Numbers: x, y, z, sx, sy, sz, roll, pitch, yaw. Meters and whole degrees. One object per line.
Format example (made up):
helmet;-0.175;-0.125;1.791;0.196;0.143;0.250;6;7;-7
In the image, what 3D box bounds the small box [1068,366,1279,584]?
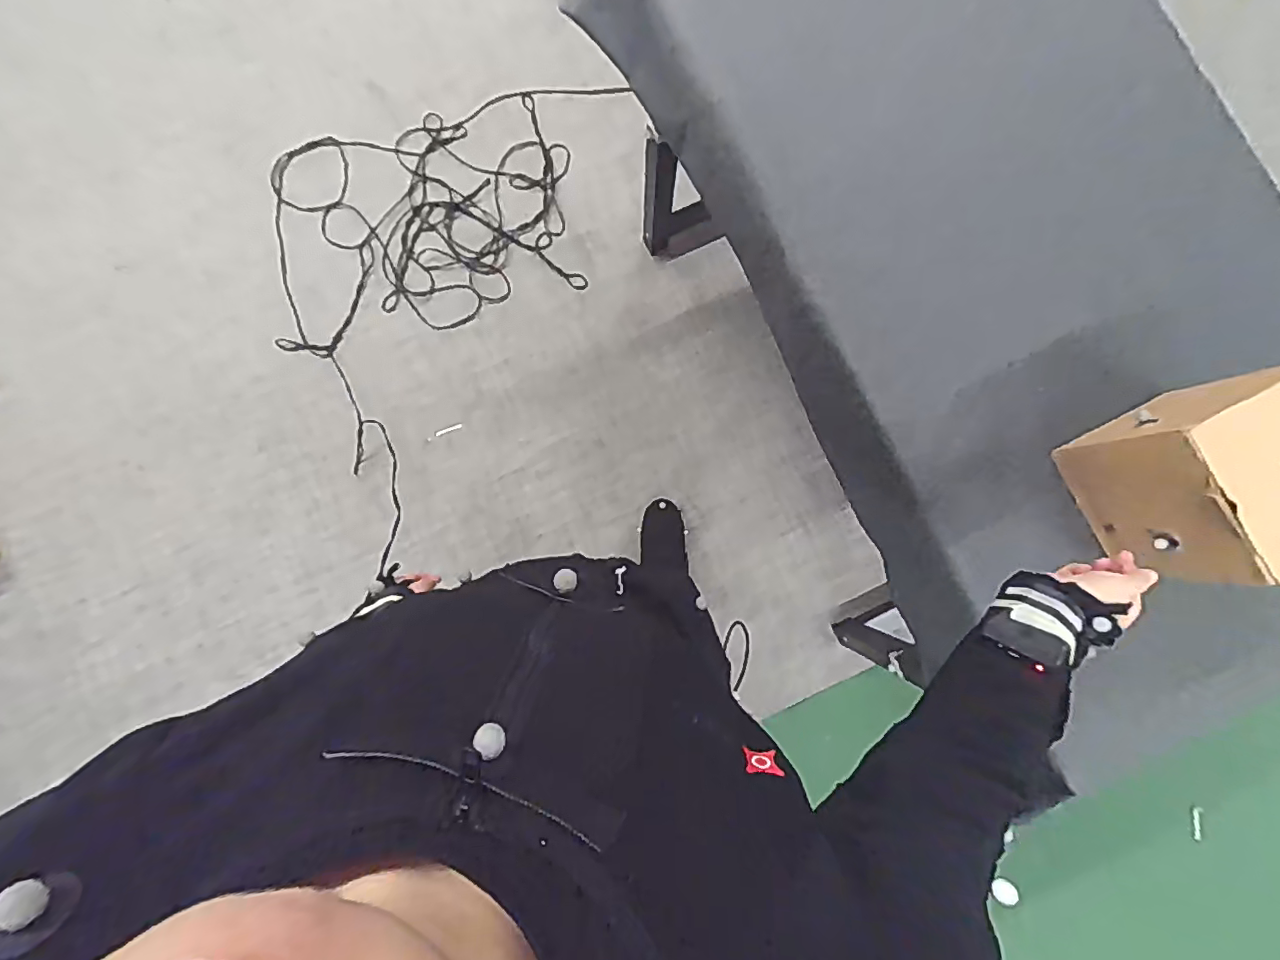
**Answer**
small box;0.618;-0.005;0.584;0.179;0.176;0.168;-27;87;-4
